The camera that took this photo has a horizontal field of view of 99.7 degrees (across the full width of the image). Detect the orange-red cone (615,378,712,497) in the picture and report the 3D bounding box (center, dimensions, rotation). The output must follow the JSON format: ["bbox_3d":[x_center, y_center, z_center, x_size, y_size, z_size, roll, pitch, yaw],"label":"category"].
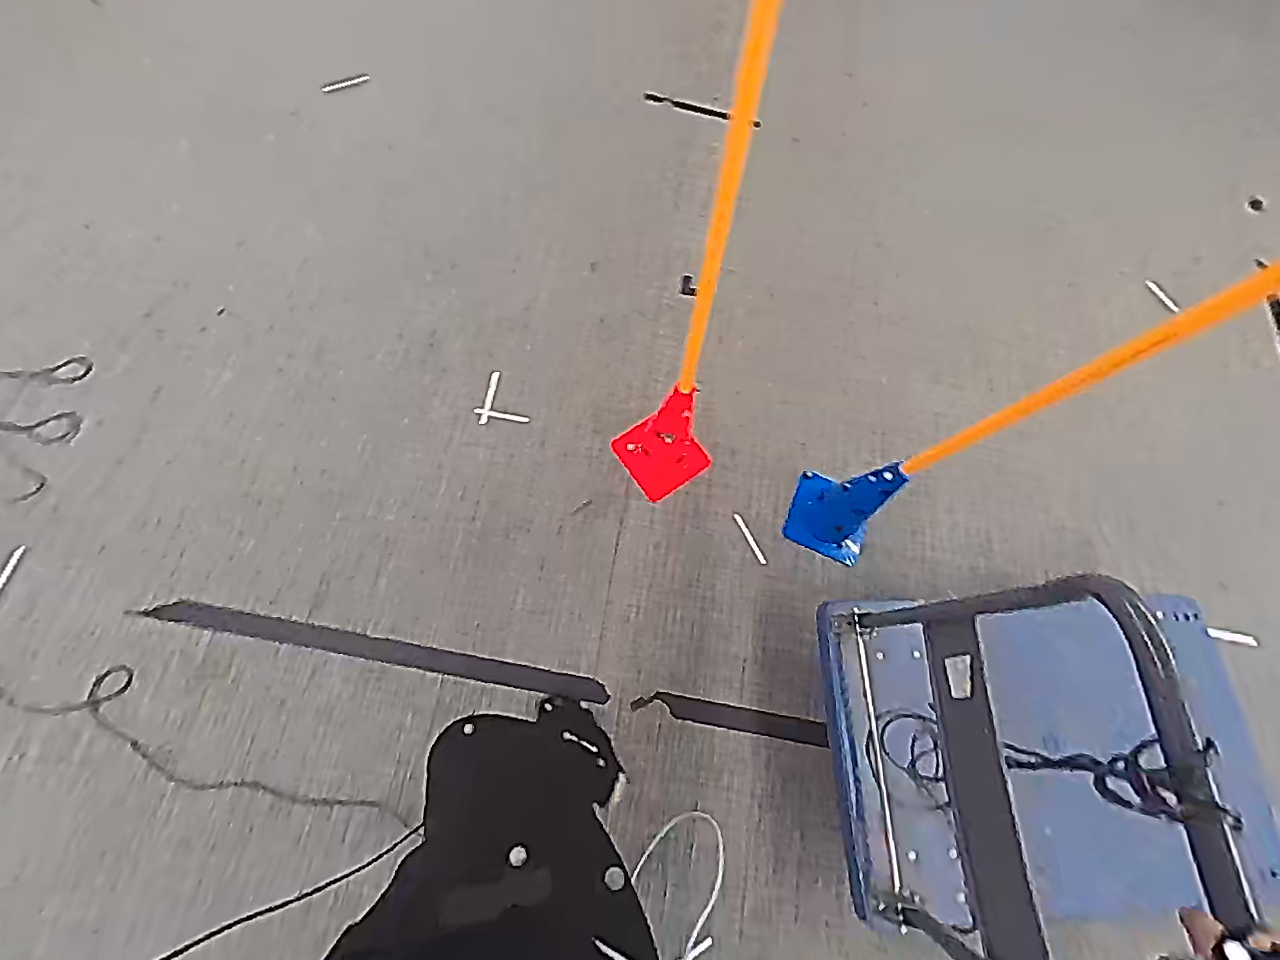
[{"bbox_3d":[0.079,-0.127,1.214,0.198,0.360,0.199,-32,78,-15],"label":"orange-red cone"}]

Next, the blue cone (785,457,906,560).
[{"bbox_3d":[0.490,0.038,1.215,0.192,0.380,0.193,25,70,4],"label":"blue cone"}]
